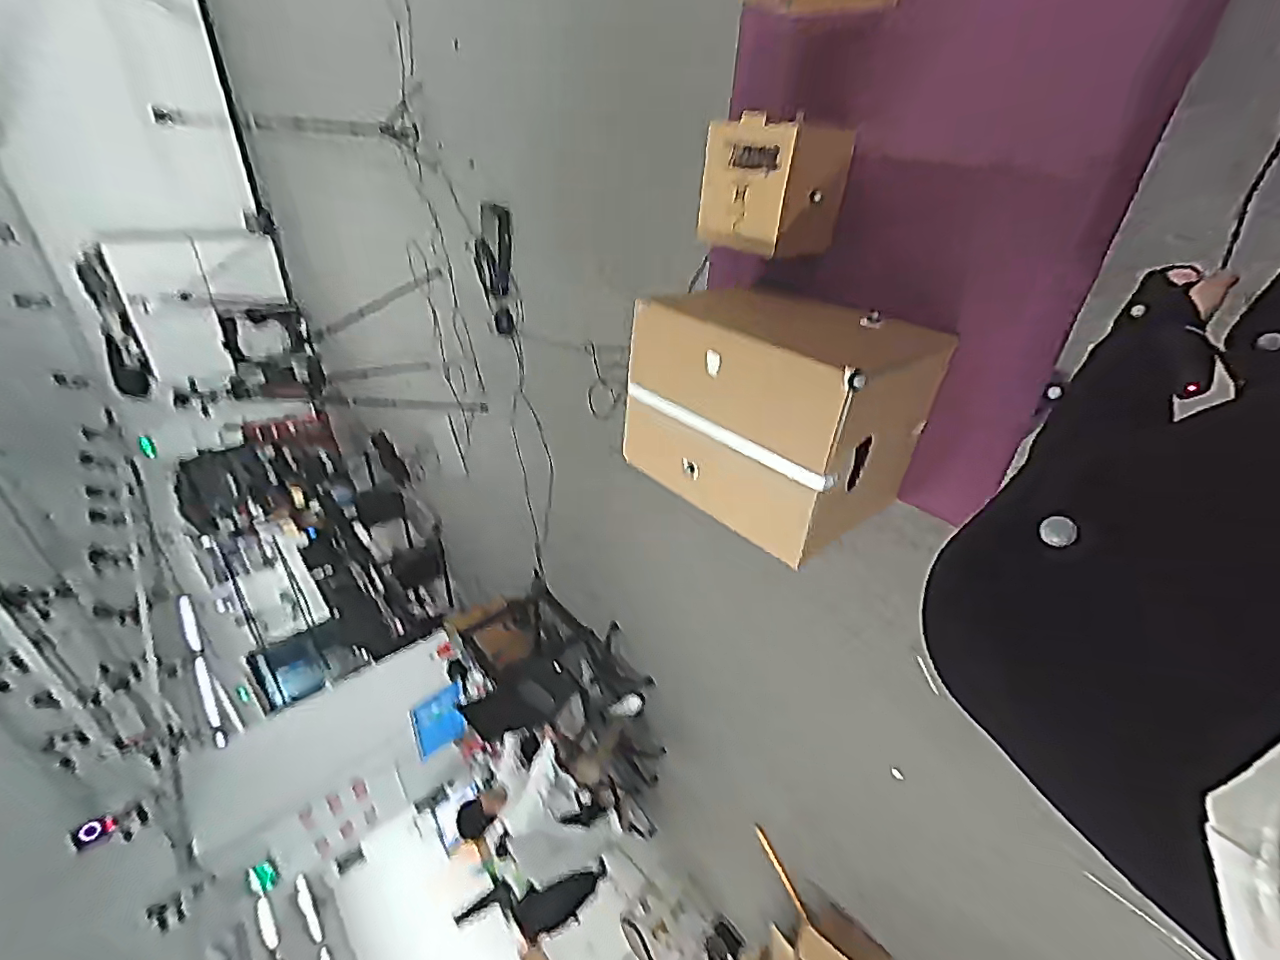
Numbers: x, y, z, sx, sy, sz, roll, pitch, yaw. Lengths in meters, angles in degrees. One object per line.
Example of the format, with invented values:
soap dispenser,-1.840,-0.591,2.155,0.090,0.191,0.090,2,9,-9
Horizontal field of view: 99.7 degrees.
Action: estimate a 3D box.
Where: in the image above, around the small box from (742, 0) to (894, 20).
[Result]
small box,0.242,-0.734,0.718,0.179,0.176,0.168,34,133,37
